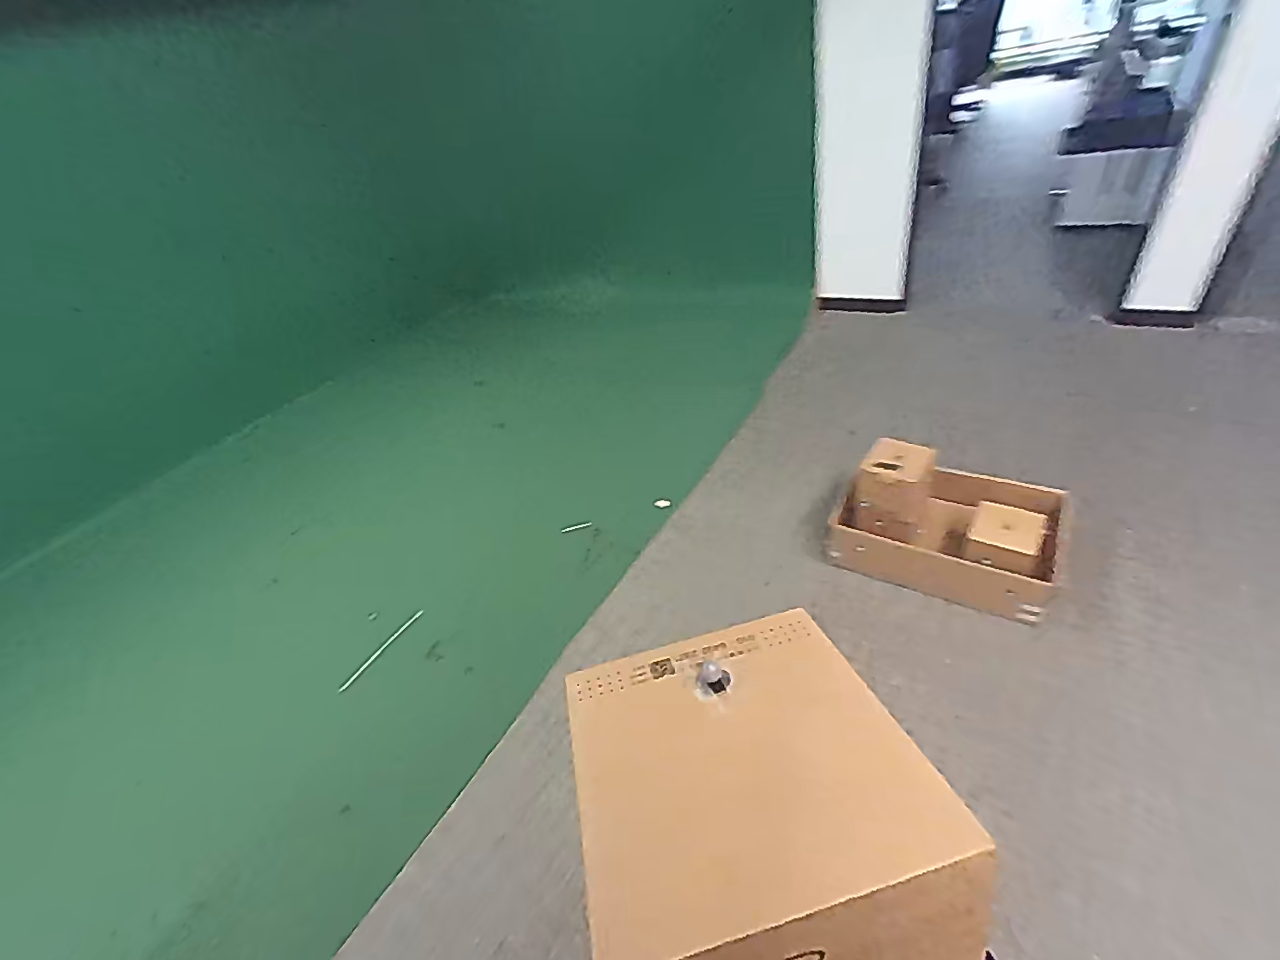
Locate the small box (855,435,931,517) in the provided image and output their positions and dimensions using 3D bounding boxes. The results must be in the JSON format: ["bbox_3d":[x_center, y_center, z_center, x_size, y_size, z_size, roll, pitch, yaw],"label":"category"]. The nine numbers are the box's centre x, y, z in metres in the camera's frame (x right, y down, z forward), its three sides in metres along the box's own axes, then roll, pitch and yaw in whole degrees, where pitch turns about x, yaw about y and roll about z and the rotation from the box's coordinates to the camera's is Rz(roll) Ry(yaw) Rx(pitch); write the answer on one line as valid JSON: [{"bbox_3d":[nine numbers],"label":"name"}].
[{"bbox_3d":[0.789,-0.011,1.697,0.168,0.176,0.179,21,51,35],"label":"small box"}]
